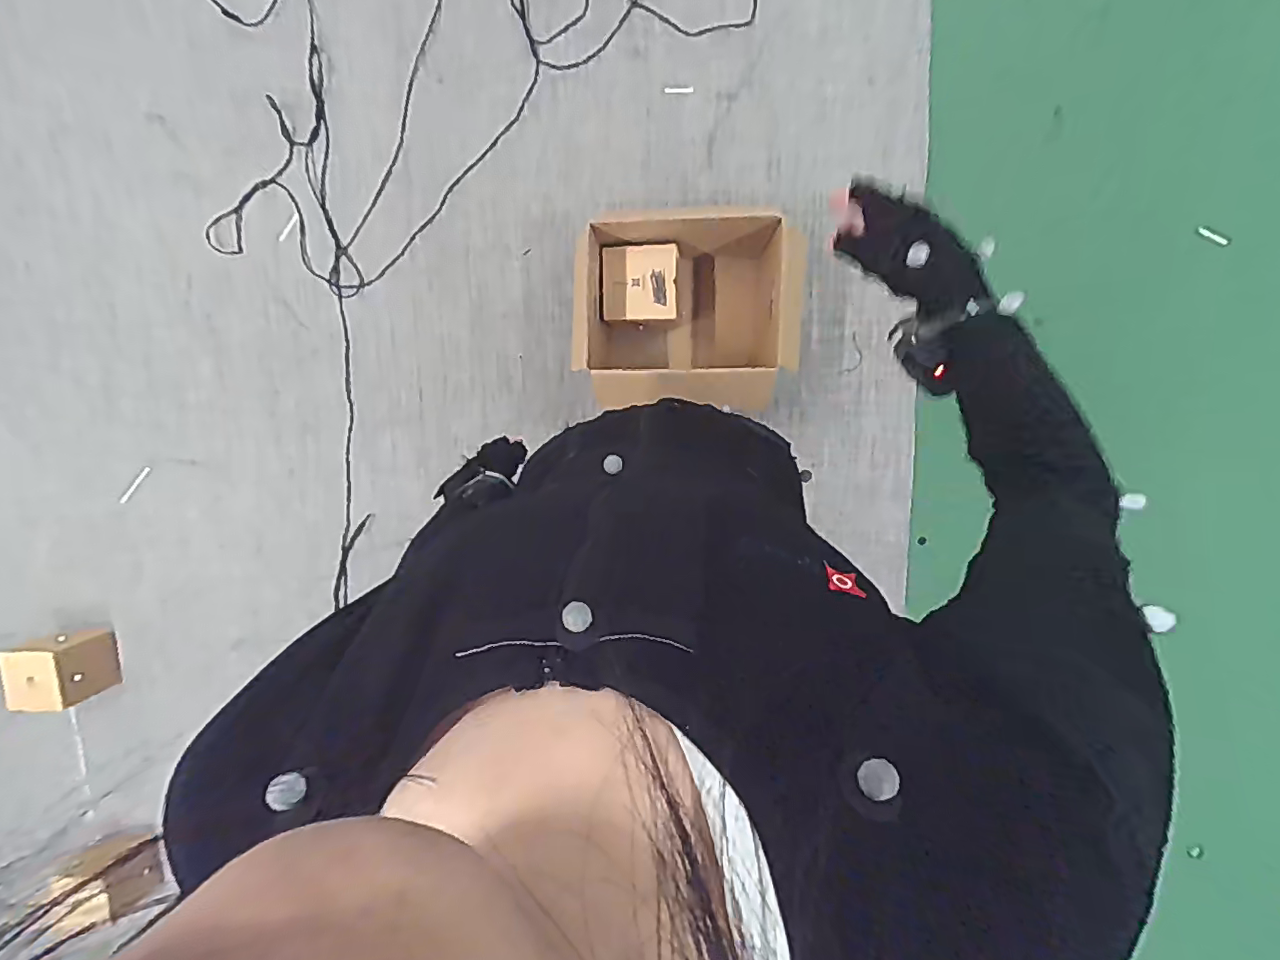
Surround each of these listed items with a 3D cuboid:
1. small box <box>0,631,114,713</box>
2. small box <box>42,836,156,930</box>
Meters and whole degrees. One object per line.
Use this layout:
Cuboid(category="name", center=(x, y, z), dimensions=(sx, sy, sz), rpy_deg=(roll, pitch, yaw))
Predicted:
Cuboid(category="small box", center=(-1.689, 0.546, 1.562), dimensions=(0.168, 0.176, 0.179), rpy_deg=(-2, 98, 3))
Cuboid(category="small box", center=(-1.645, 1.224, 1.653), dimensions=(0.179, 0.176, 0.168), rpy_deg=(-2, 98, 3))
